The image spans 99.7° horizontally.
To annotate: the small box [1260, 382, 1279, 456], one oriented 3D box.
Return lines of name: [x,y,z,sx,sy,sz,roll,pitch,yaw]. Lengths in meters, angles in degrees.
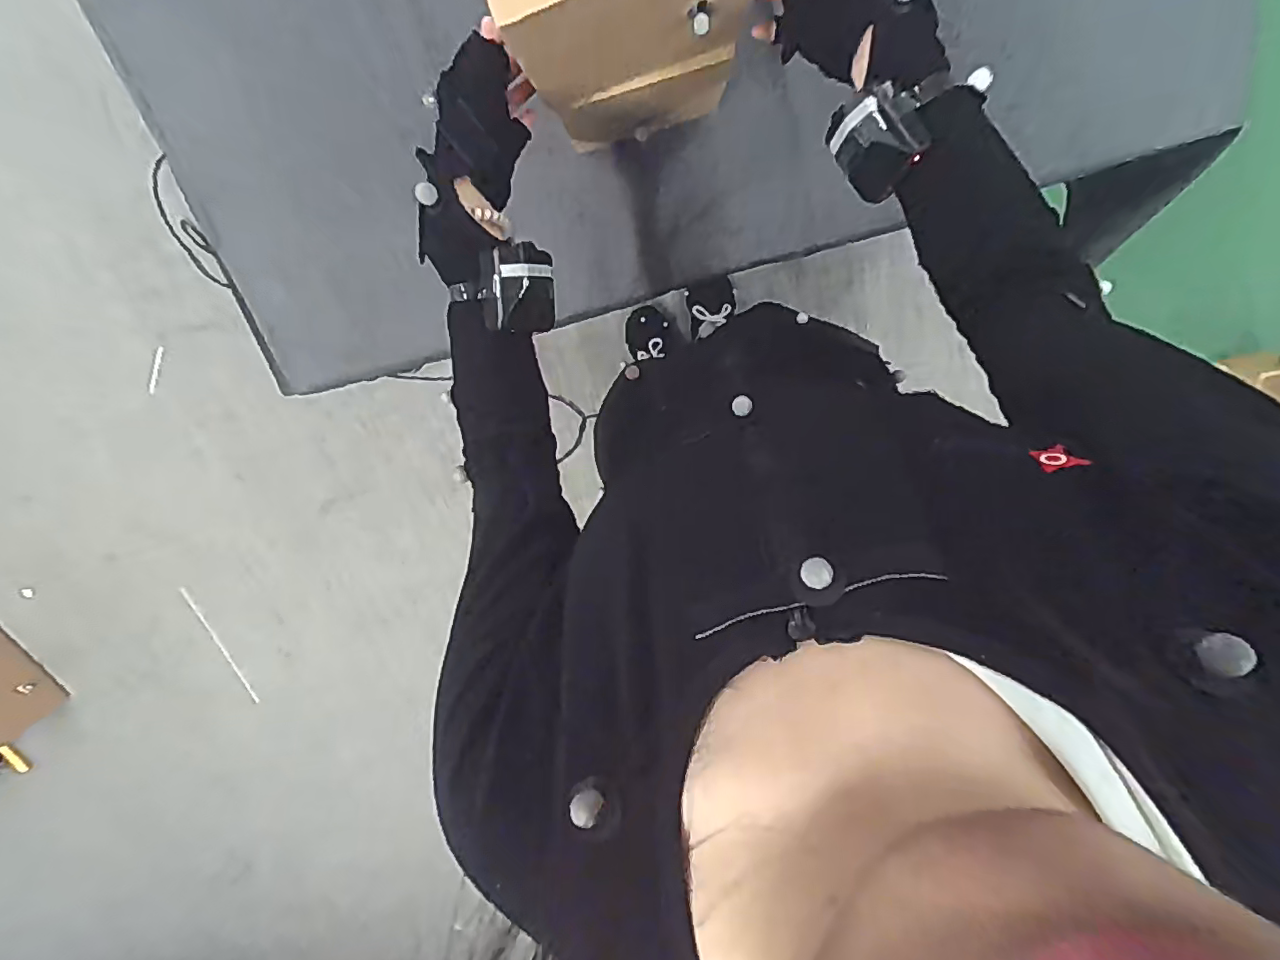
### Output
small box: [1.543,-0.132,1.189,0.168,0.176,0.179,-10,109,5]

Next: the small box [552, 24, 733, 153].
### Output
small box: [-0.017,-0.448,0.519,0.168,0.176,0.179,-13,109,6]

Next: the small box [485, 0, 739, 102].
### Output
small box: [-0.026,-0.396,0.364,0.179,0.176,0.168,-15,107,7]

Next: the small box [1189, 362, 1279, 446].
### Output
small box: [1.535,-0.193,1.343,0.179,0.176,0.168,-9,109,4]
